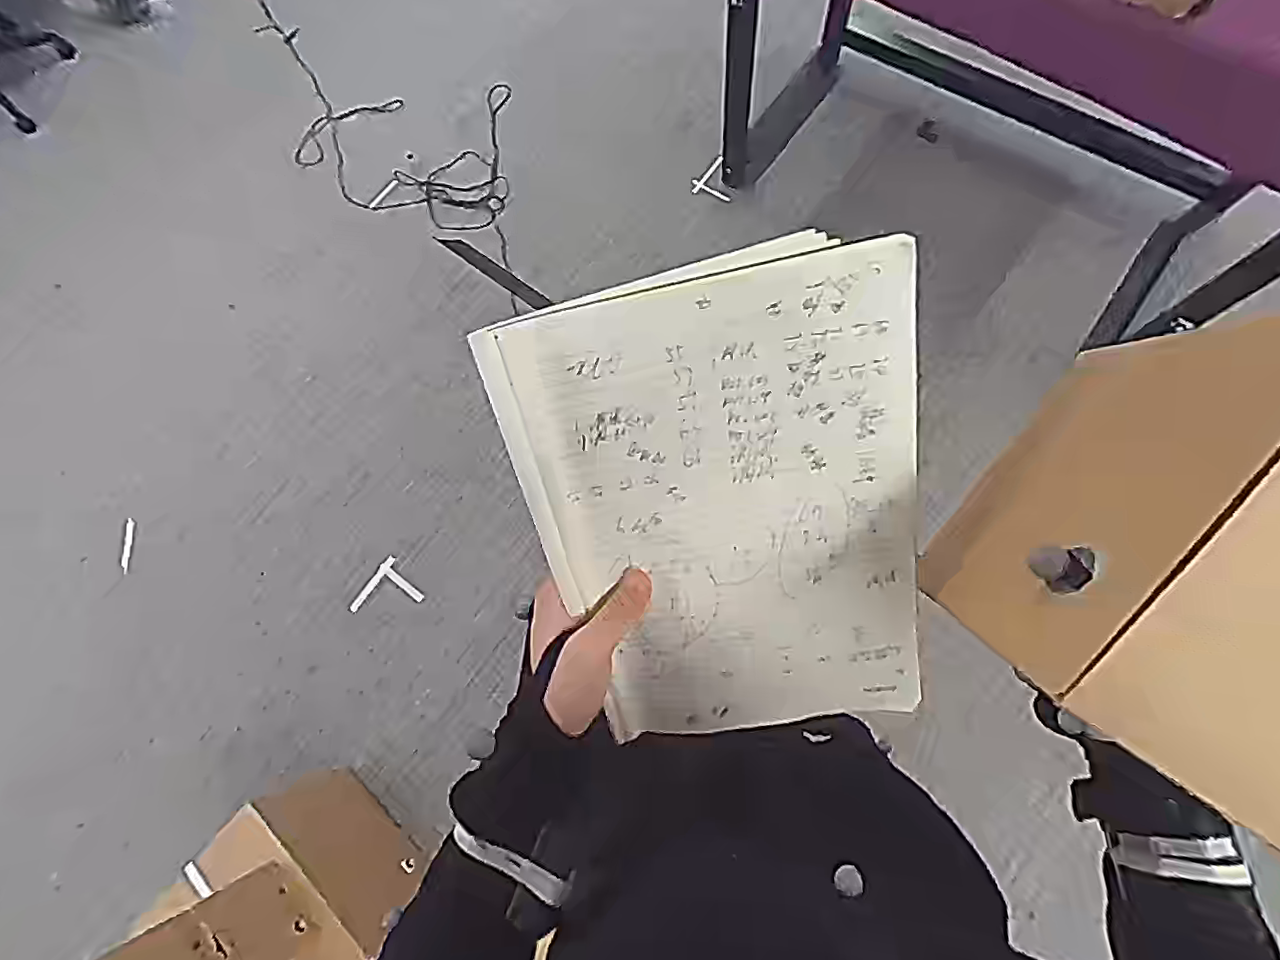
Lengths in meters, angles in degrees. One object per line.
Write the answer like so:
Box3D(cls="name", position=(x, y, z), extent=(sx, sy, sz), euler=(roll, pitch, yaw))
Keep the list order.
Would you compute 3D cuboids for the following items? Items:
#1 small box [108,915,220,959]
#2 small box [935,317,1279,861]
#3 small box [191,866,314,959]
Box3D(cls="small box", position=(-0.729, 0.786, 0.769), extent=(0.168, 0.176, 0.179), euler=(39, 82, 15))
Box3D(cls="small box", position=(0.275, 0.047, 0.255), extent=(0.168, 0.176, 0.179), euler=(33, 99, 3))
Box3D(cls="small box", position=(-0.703, 0.820, 0.928), extent=(0.168, 0.176, 0.179), euler=(42, 84, 15))
